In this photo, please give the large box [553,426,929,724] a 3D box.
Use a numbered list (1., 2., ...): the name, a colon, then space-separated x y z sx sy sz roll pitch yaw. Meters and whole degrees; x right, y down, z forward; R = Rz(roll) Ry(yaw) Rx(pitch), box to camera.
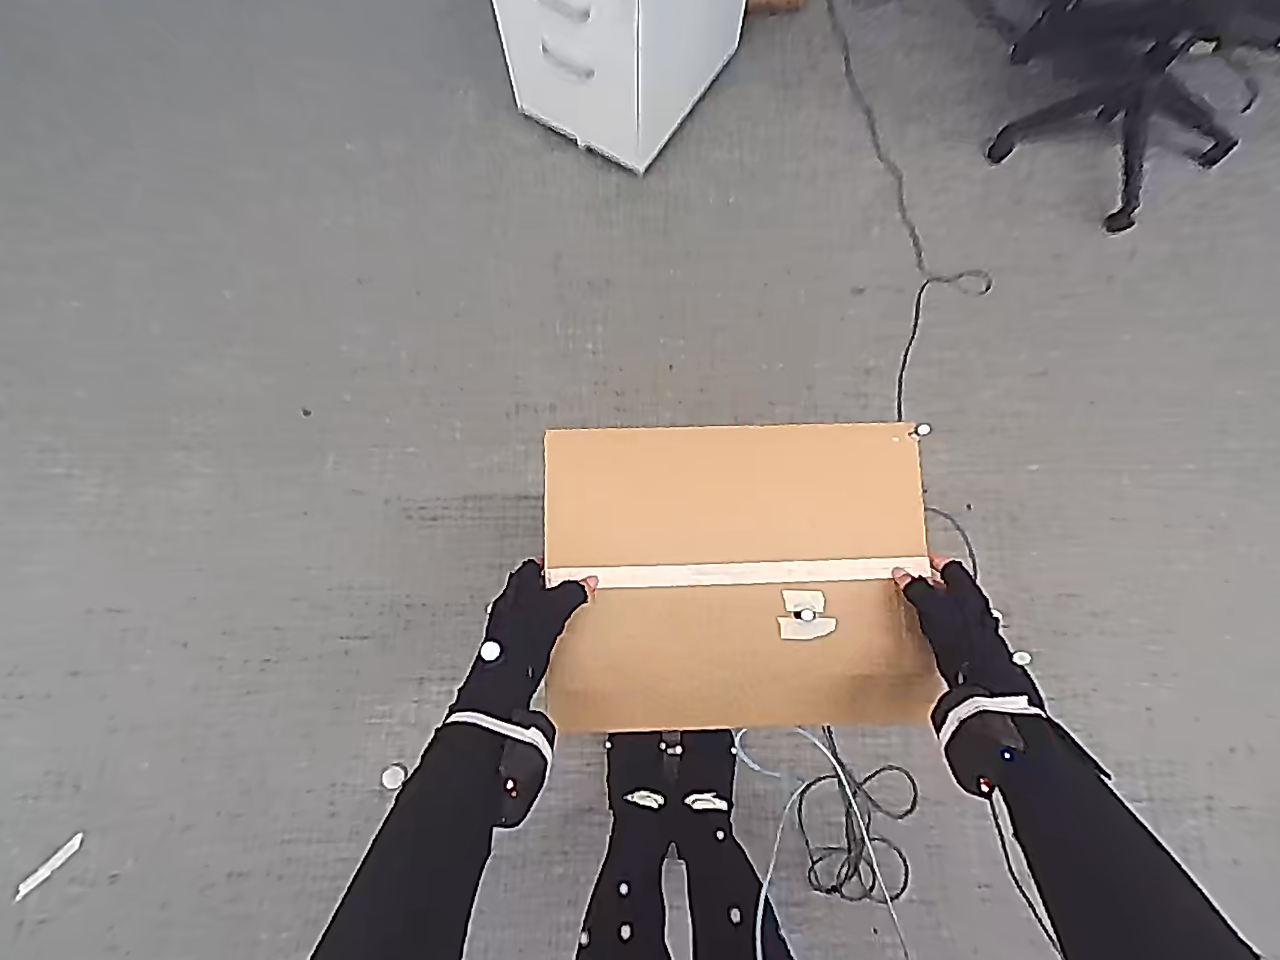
1. large box: 0.102 0.119 0.741 0.408 0.320 0.320 -2 83 -1
